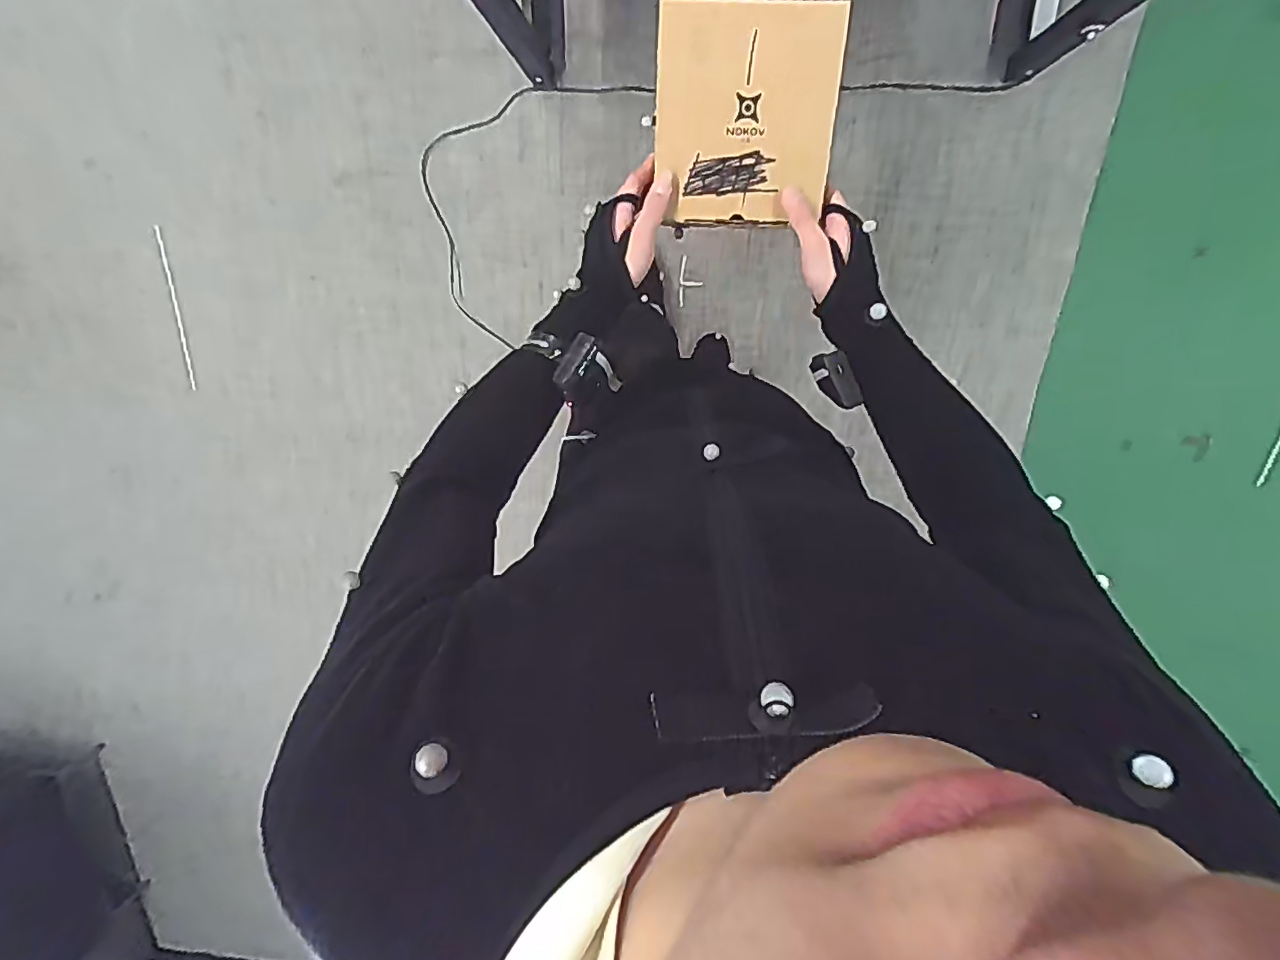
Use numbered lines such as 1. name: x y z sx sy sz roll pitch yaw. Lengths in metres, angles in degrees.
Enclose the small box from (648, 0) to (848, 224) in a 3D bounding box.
1. small box: 0.096 -0.368 0.567 0.168 0.176 0.179 2 113 0
